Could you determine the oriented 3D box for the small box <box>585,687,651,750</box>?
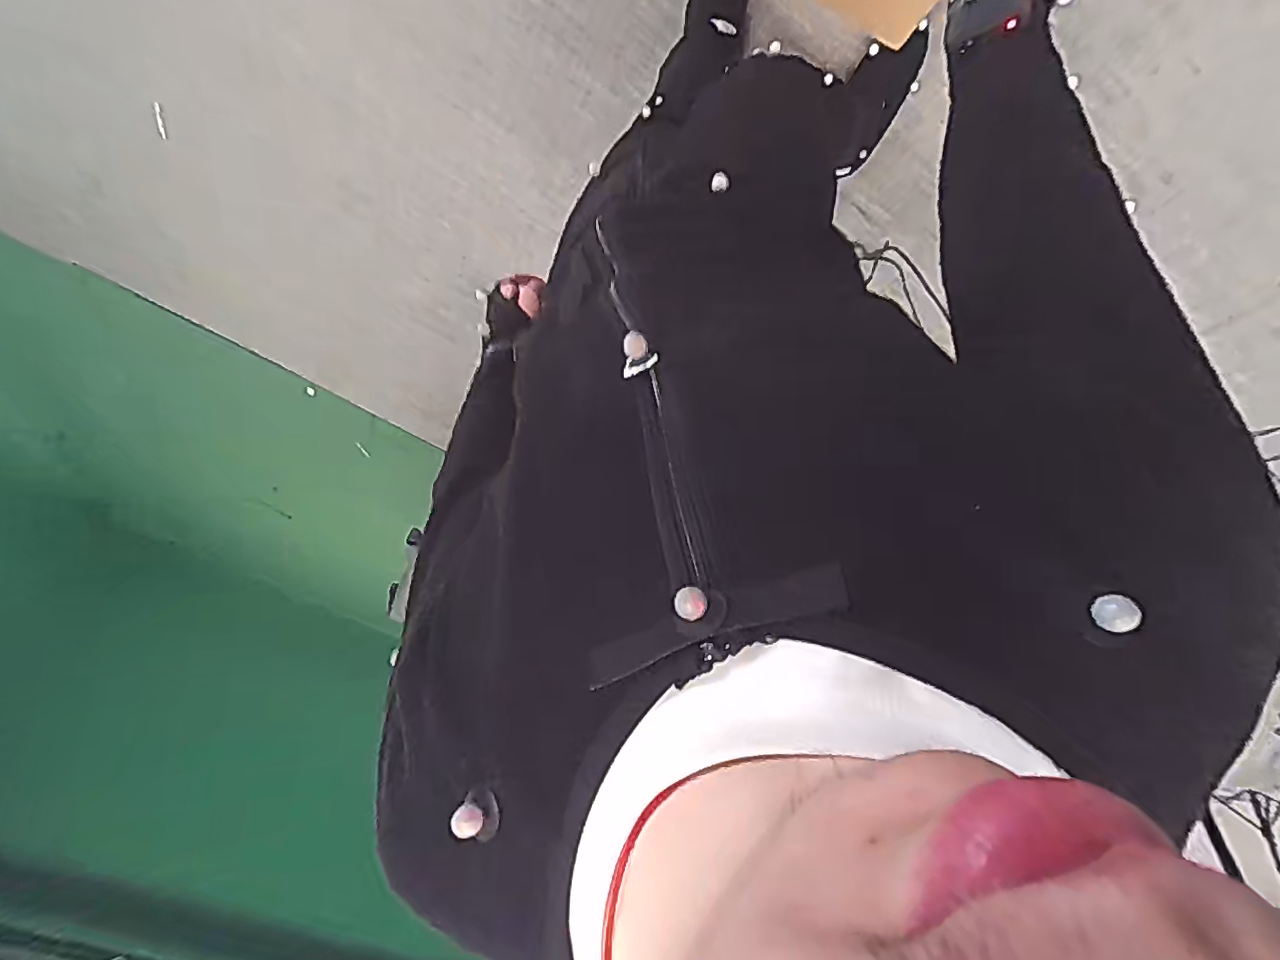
[{"bbox_3d":[-0.076,0.889,2.020,0.168,0.176,0.179,32,141,-15],"label":"small box"}]
